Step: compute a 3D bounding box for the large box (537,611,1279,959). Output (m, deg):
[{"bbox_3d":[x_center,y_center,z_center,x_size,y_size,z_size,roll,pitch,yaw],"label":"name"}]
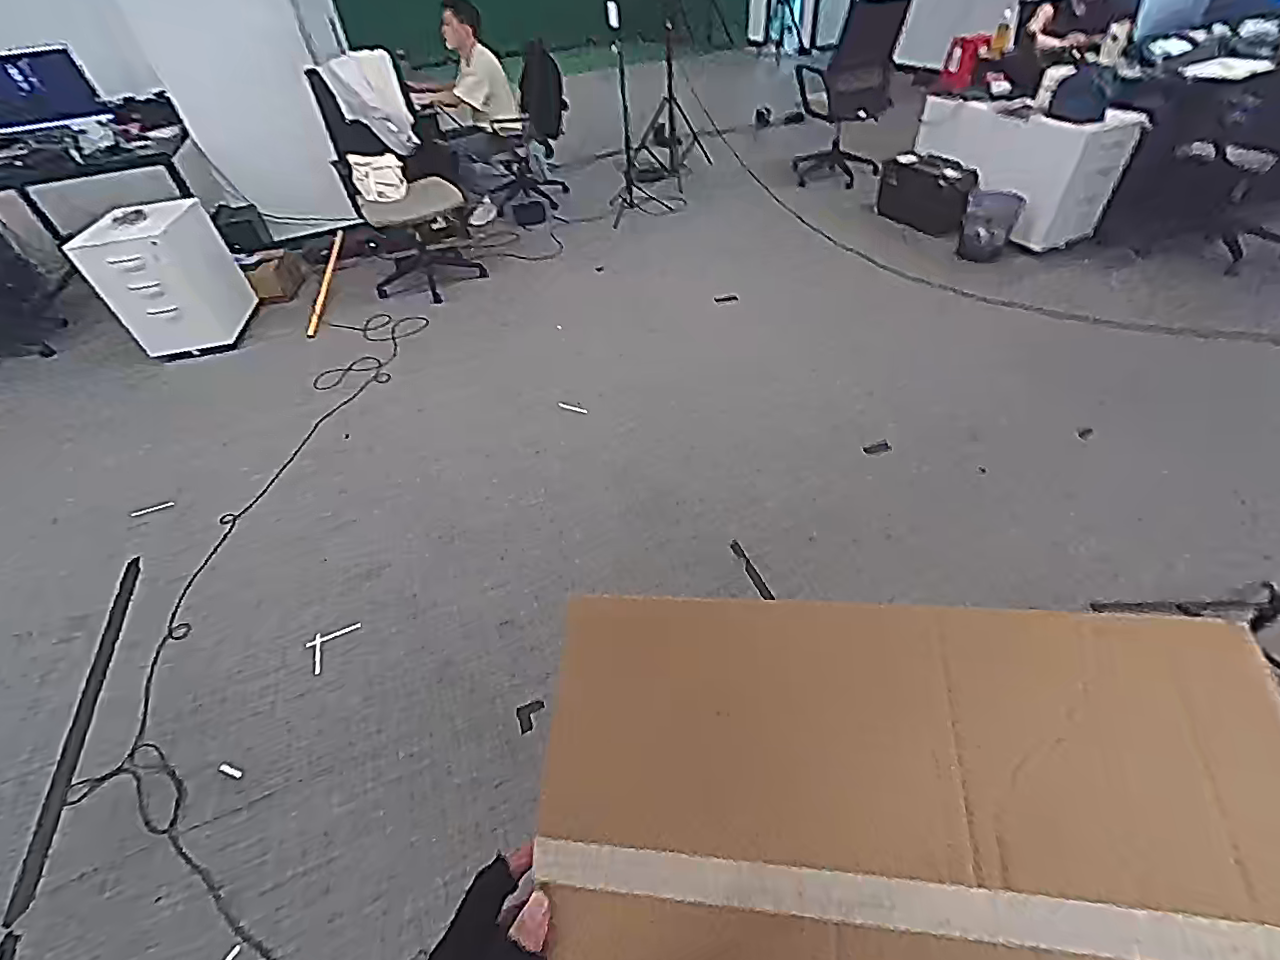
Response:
[{"bbox_3d":[0.162,0.296,0.423,0.408,0.320,0.320,0,65,11],"label":"large box"}]
